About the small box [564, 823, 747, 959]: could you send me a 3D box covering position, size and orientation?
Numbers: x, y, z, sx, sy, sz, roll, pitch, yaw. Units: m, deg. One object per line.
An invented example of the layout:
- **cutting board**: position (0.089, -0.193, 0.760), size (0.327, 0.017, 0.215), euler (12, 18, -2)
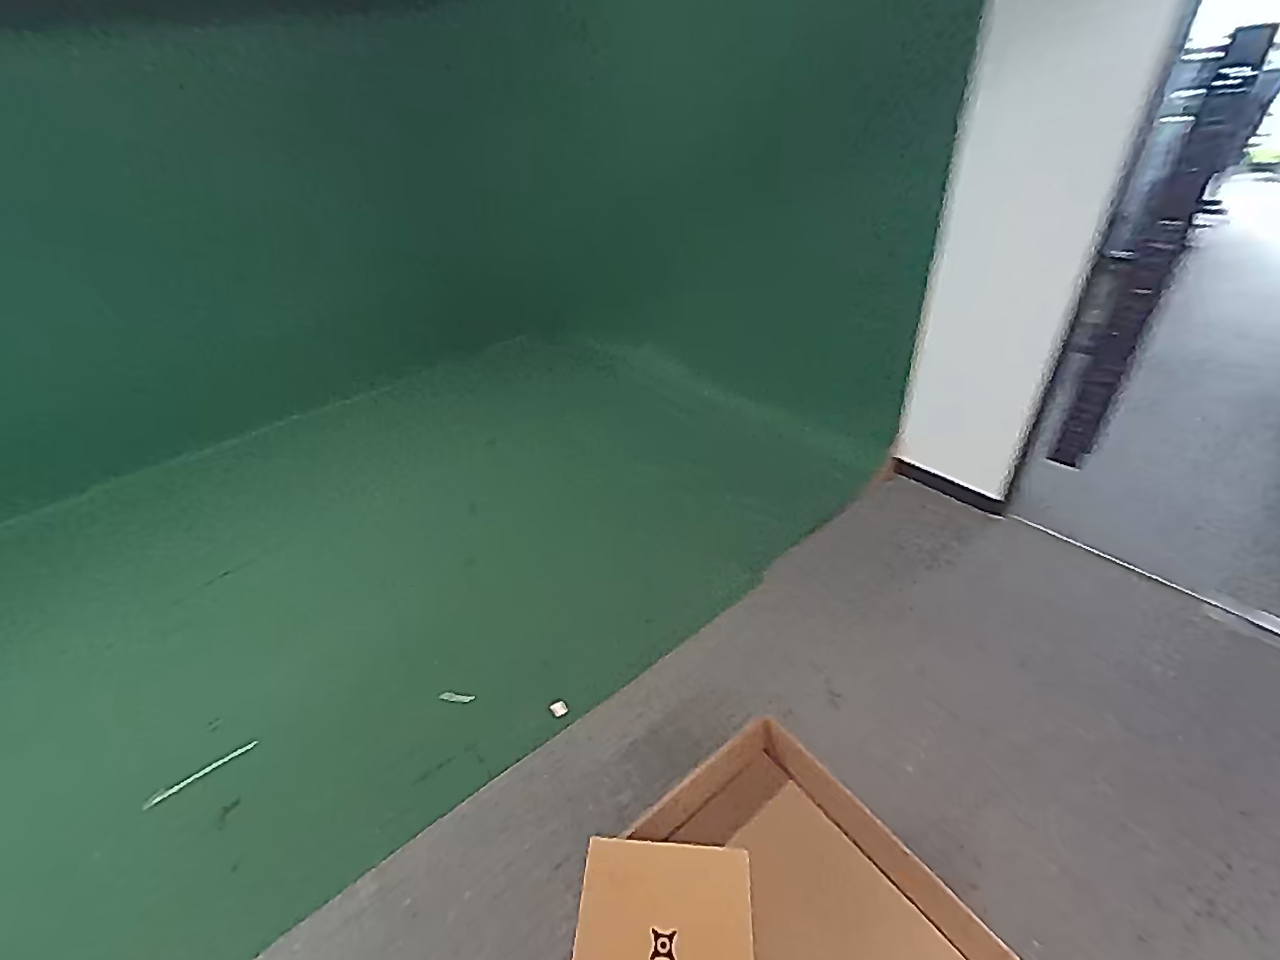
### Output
- **small box**: position (0.017, 0.478, 0.544), size (0.168, 0.176, 0.179), euler (0, 40, 5)
